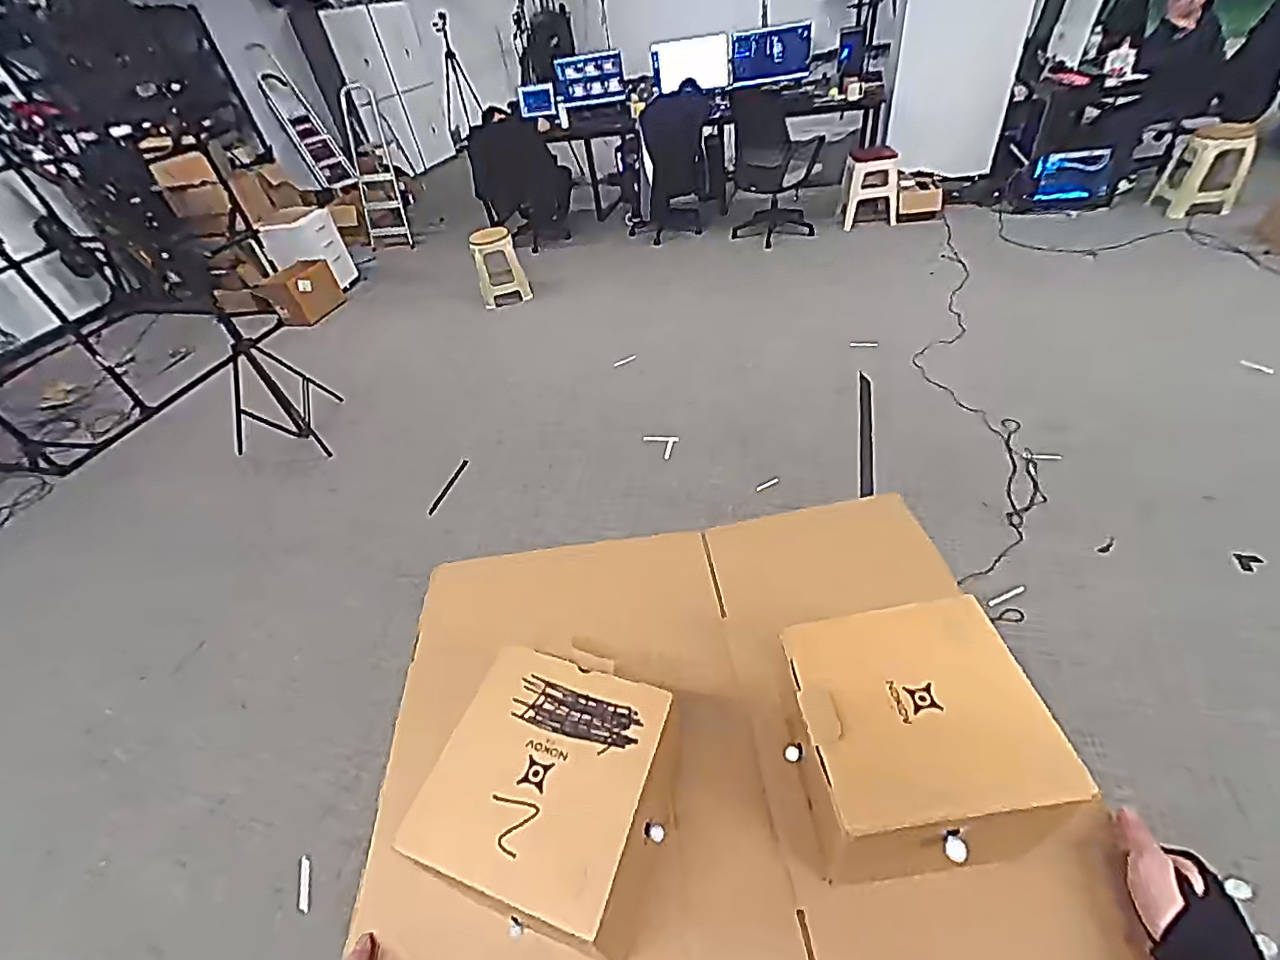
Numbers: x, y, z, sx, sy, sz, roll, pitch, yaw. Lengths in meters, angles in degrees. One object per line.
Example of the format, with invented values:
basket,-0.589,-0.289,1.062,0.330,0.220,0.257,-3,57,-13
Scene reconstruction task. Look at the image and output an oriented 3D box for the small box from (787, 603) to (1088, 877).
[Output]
small box,0.241,0.240,0.497,0.179,0.176,0.168,-12,42,4
